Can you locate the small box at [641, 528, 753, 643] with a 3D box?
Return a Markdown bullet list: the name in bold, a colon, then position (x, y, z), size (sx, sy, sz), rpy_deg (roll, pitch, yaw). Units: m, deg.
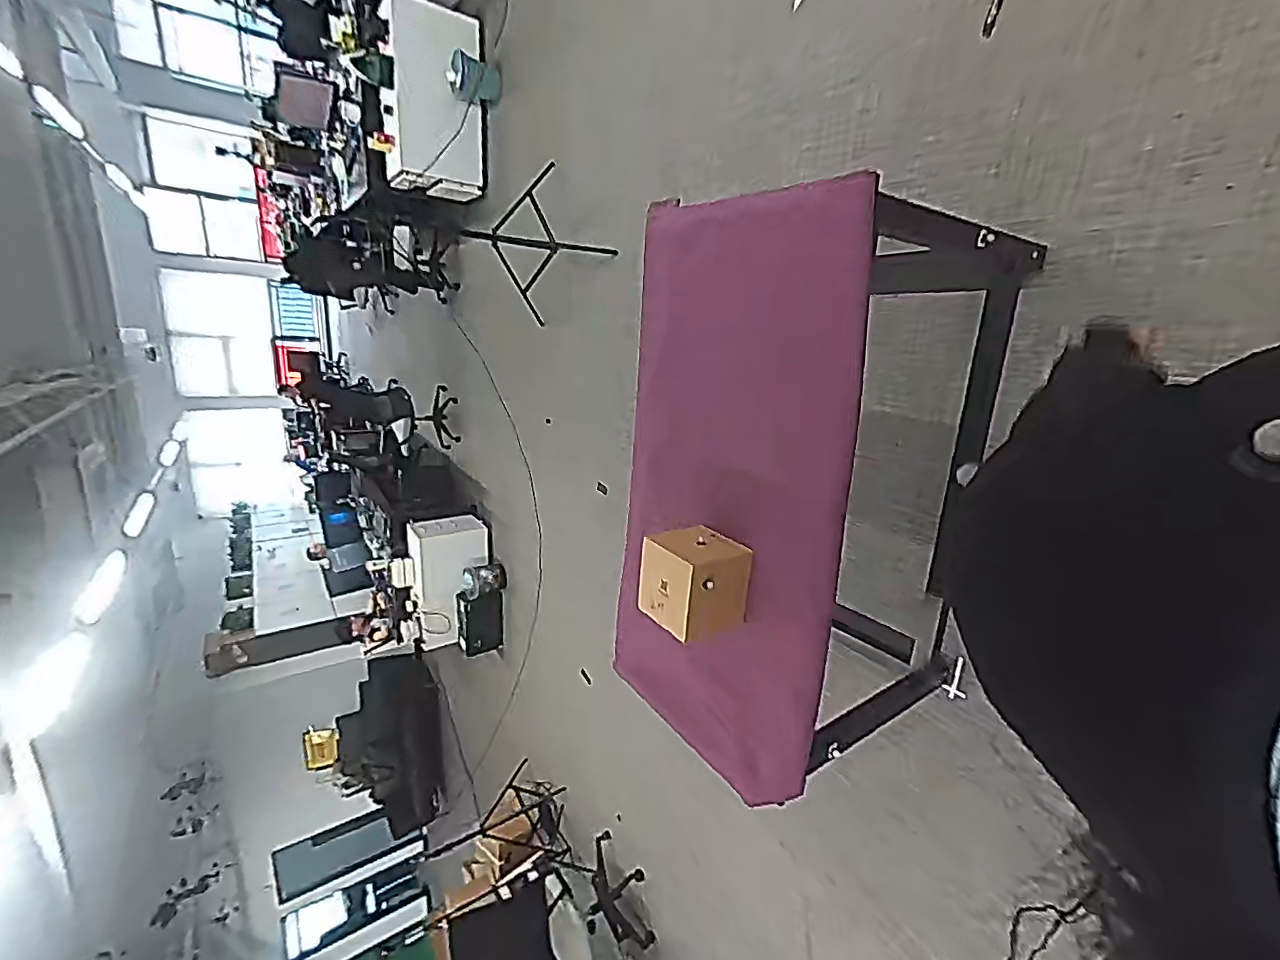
- **small box**: position (0.122, 0.215, 1.162), size (0.168, 0.176, 0.179), rpy_deg (26, 117, 52)
